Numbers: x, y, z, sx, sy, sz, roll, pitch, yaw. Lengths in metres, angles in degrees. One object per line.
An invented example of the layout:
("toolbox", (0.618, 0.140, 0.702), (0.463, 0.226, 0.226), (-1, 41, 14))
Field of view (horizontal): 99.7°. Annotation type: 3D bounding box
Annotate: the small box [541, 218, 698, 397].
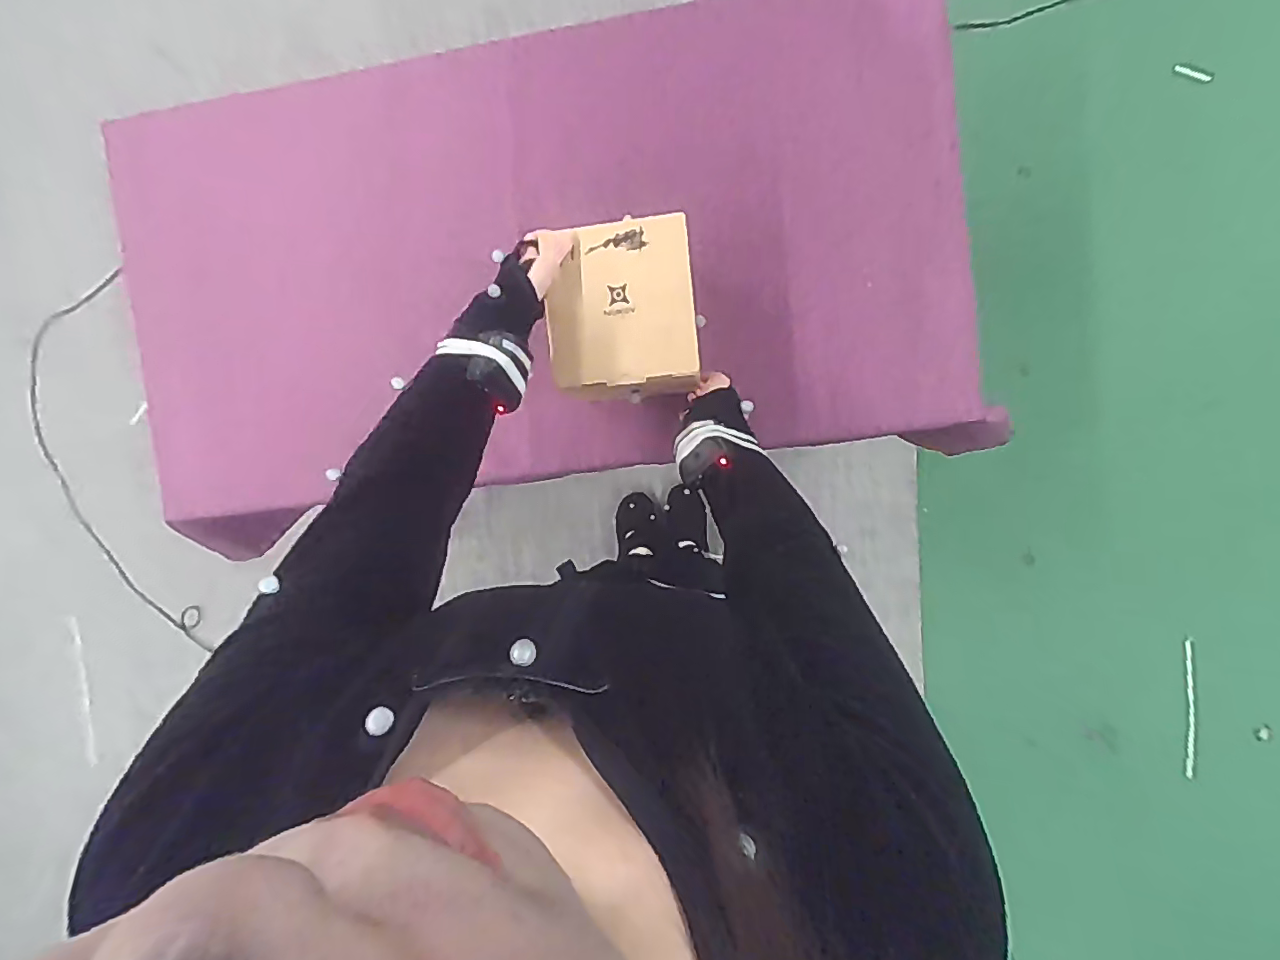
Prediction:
("small box", (-0.015, -0.198, 0.673), (0.168, 0.176, 0.179), (-5, 94, 5))
